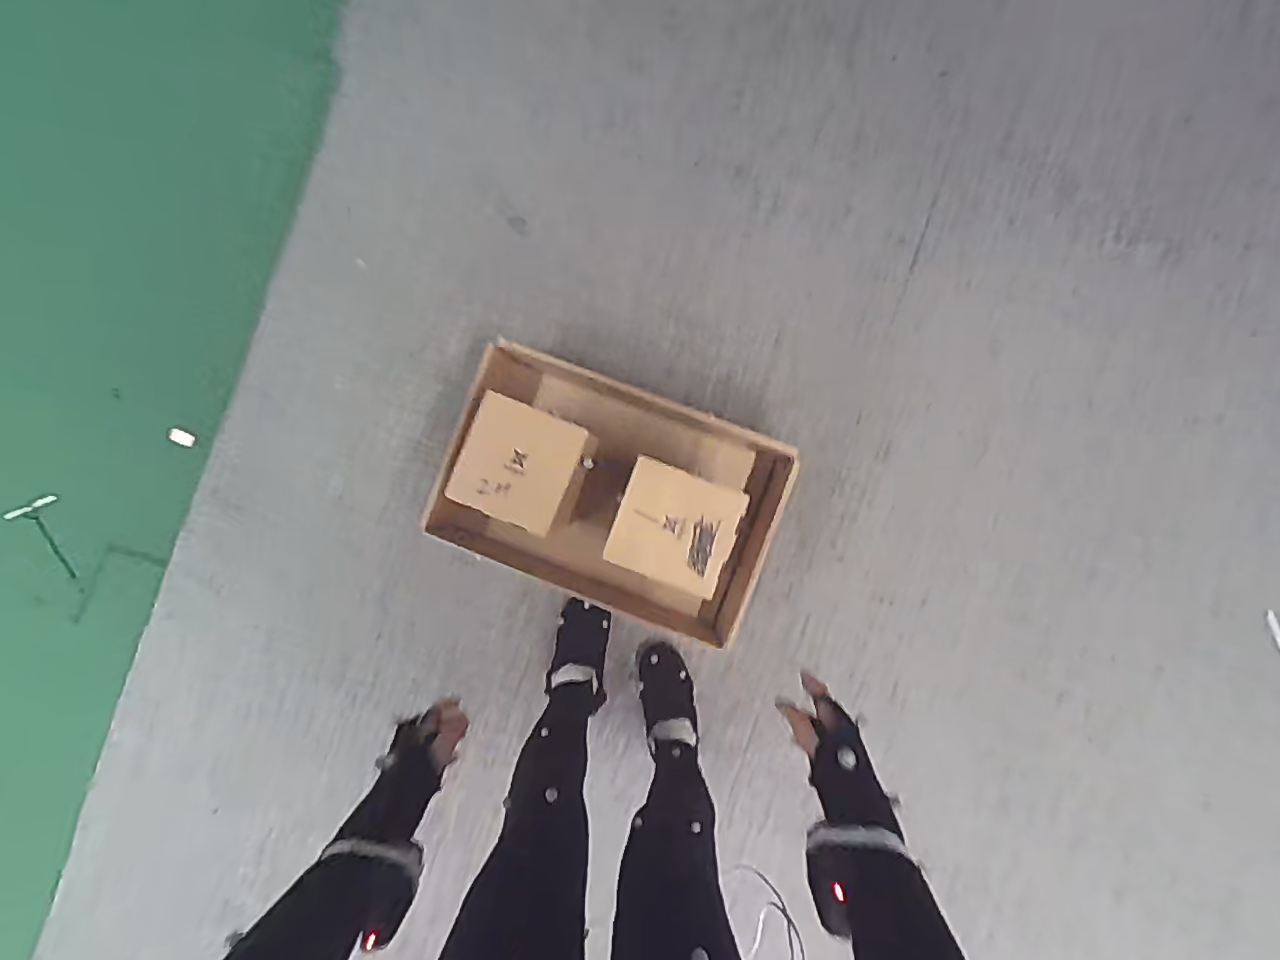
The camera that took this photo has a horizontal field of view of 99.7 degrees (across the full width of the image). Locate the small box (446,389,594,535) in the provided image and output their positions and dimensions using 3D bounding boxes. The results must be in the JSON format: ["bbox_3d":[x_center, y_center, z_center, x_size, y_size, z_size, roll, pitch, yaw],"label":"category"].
[{"bbox_3d":[-0.184,-0.026,0.891,0.168,0.176,0.179,23,90,3],"label":"small box"}]

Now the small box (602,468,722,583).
[{"bbox_3d":[0.044,0.084,1.047,0.179,0.176,0.168,19,90,4],"label":"small box"}]
